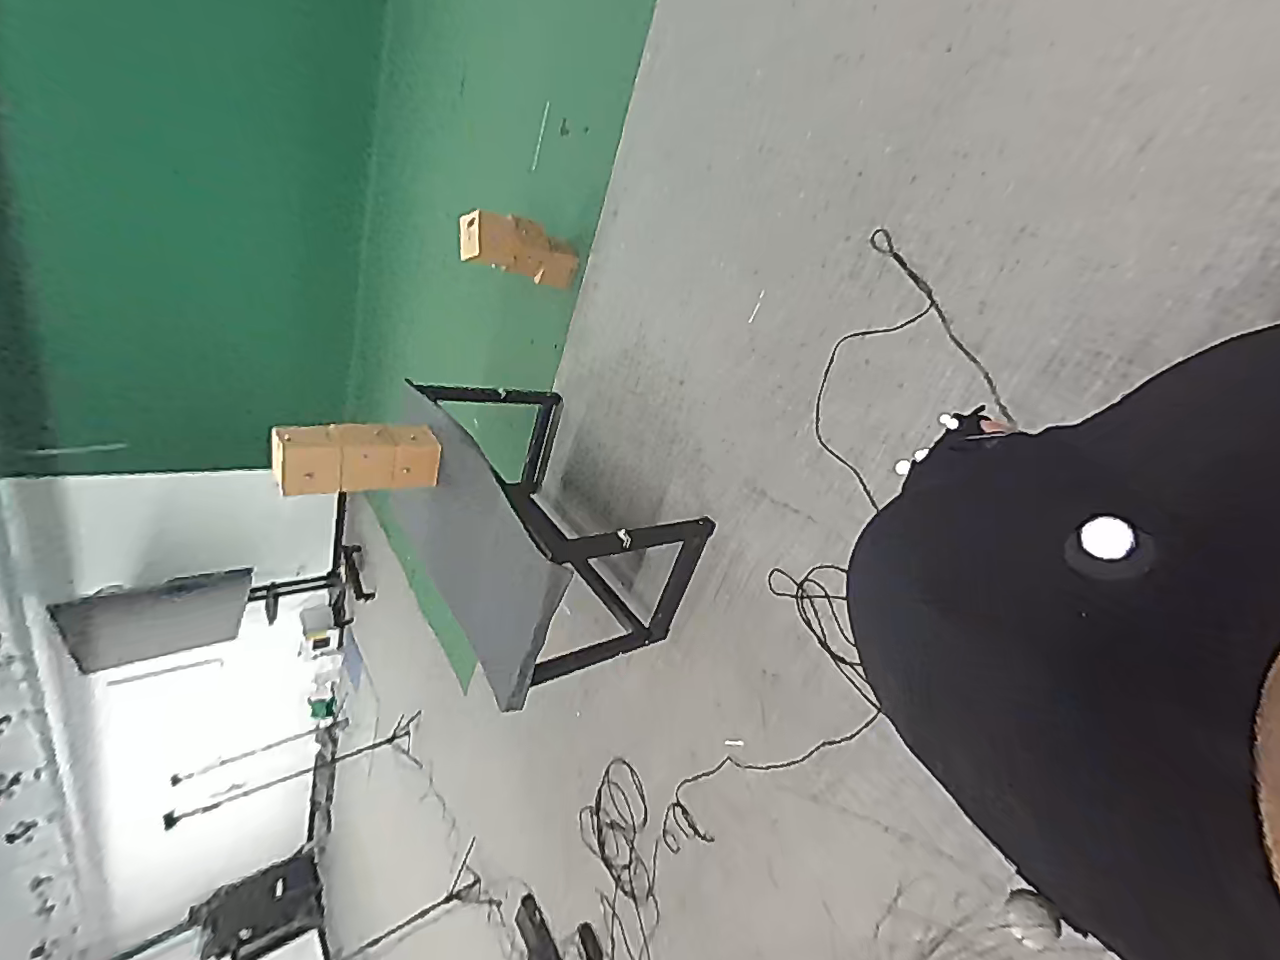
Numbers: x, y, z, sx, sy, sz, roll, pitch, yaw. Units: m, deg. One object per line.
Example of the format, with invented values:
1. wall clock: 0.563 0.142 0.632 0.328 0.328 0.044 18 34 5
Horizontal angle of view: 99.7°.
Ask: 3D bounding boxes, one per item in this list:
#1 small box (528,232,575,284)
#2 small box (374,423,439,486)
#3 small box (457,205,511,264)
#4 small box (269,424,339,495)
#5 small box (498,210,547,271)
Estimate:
1. small box: -0.426 -1.033 2.510 0.179 0.176 0.168 56 130 28
2. small box: -0.857 -0.100 1.990 0.168 0.176 0.179 40 123 37
3. small box: -0.654 -1.028 2.275 0.168 0.176 0.179 12 103 45
4. small box: -1.098 -0.073 1.769 0.168 0.176 0.179 37 121 38
5. small box: -0.531 -1.046 2.383 0.168 0.176 0.179 -30 71 43
